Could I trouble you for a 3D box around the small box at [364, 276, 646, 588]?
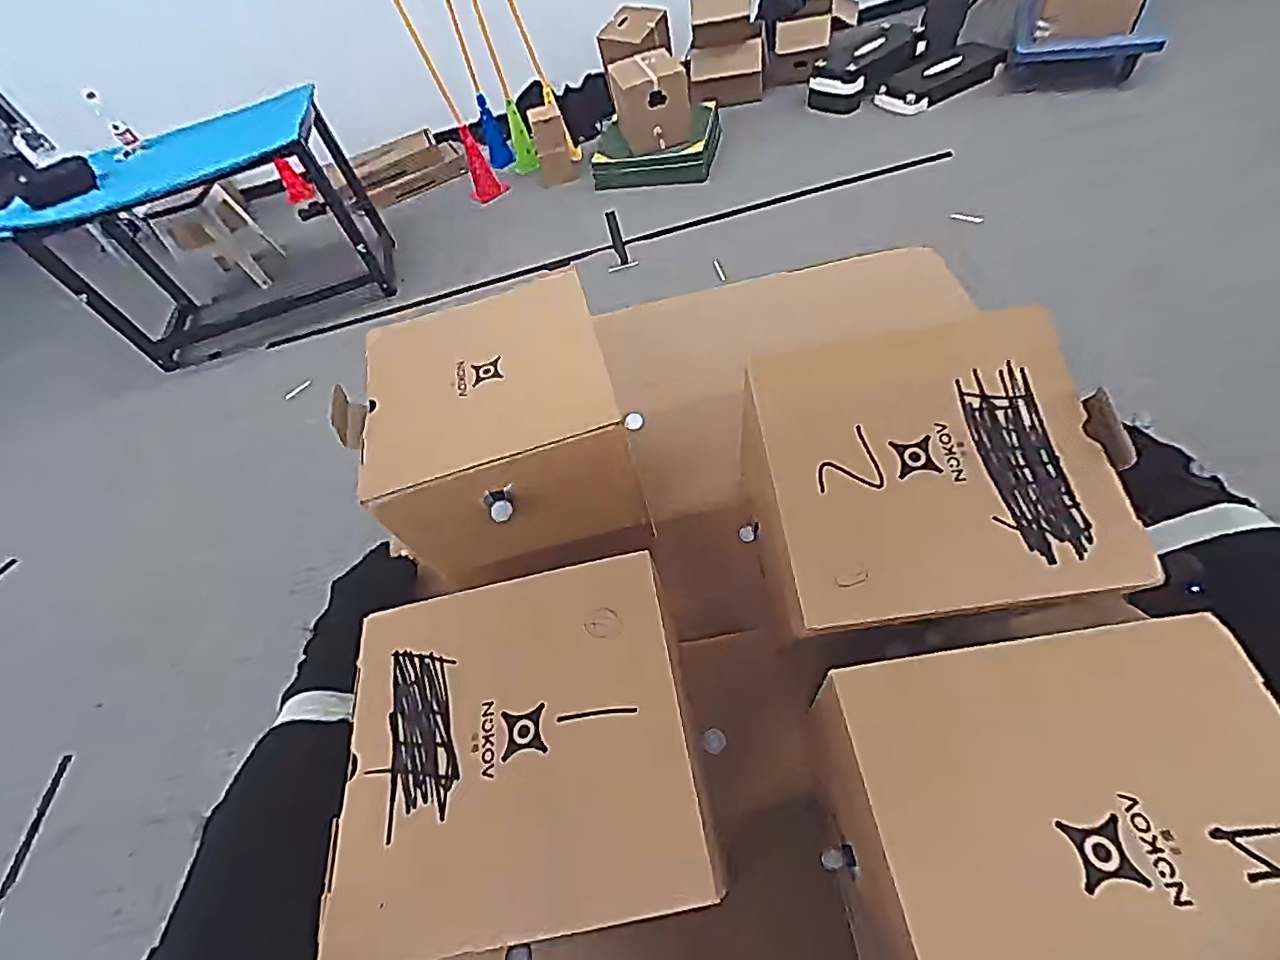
[{"bbox_3d":[-0.100,-0.031,0.456,0.179,0.176,0.168,-18,56,1],"label":"small box"}]
